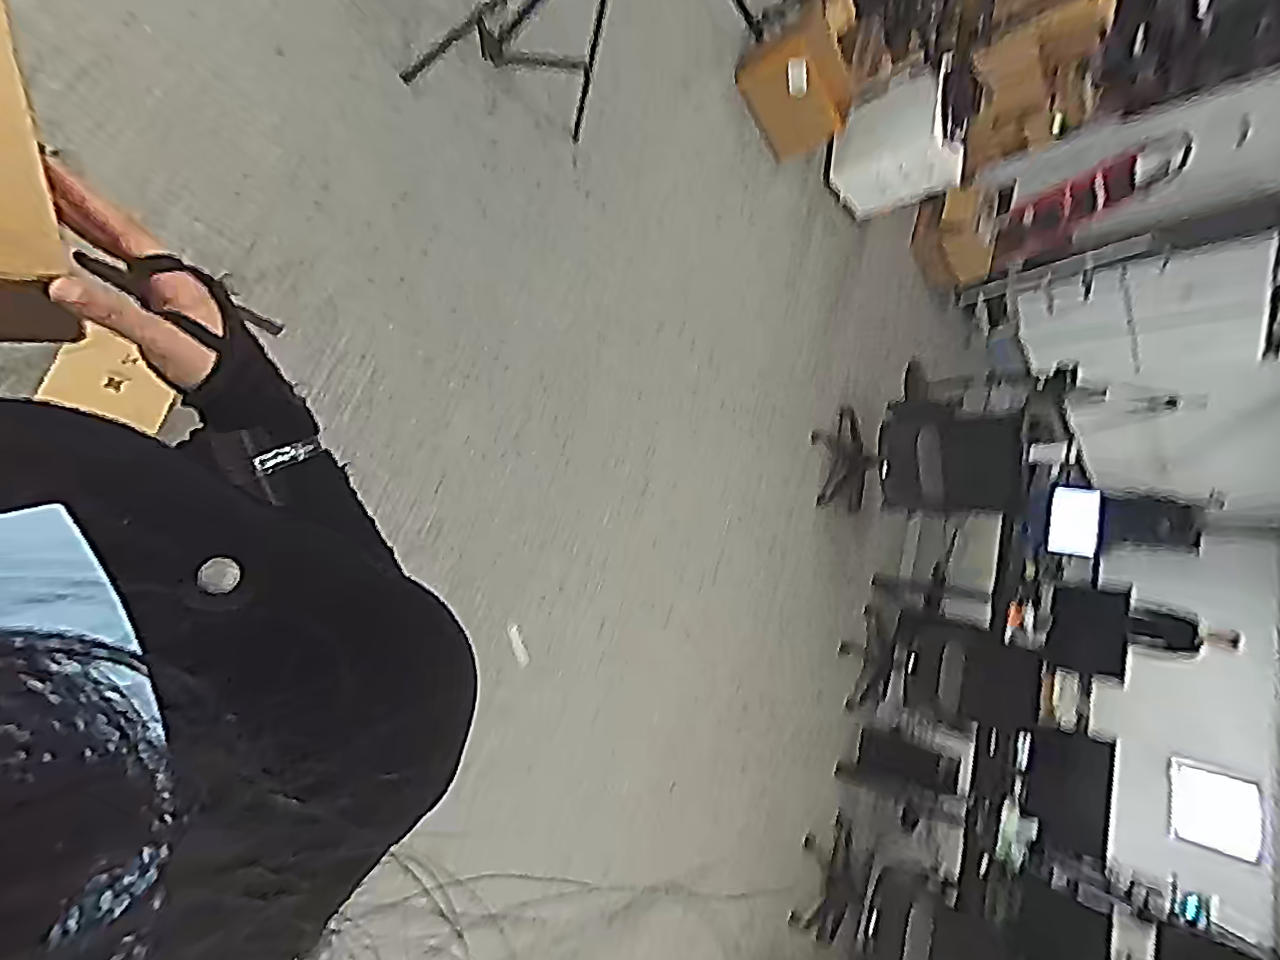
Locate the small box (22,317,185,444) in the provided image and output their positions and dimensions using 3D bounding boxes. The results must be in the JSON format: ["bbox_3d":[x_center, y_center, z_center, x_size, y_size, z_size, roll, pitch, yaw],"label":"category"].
[{"bbox_3d":[-1.014,-0.178,1.036,0.168,0.176,0.179,27,71,-40],"label":"small box"}]
